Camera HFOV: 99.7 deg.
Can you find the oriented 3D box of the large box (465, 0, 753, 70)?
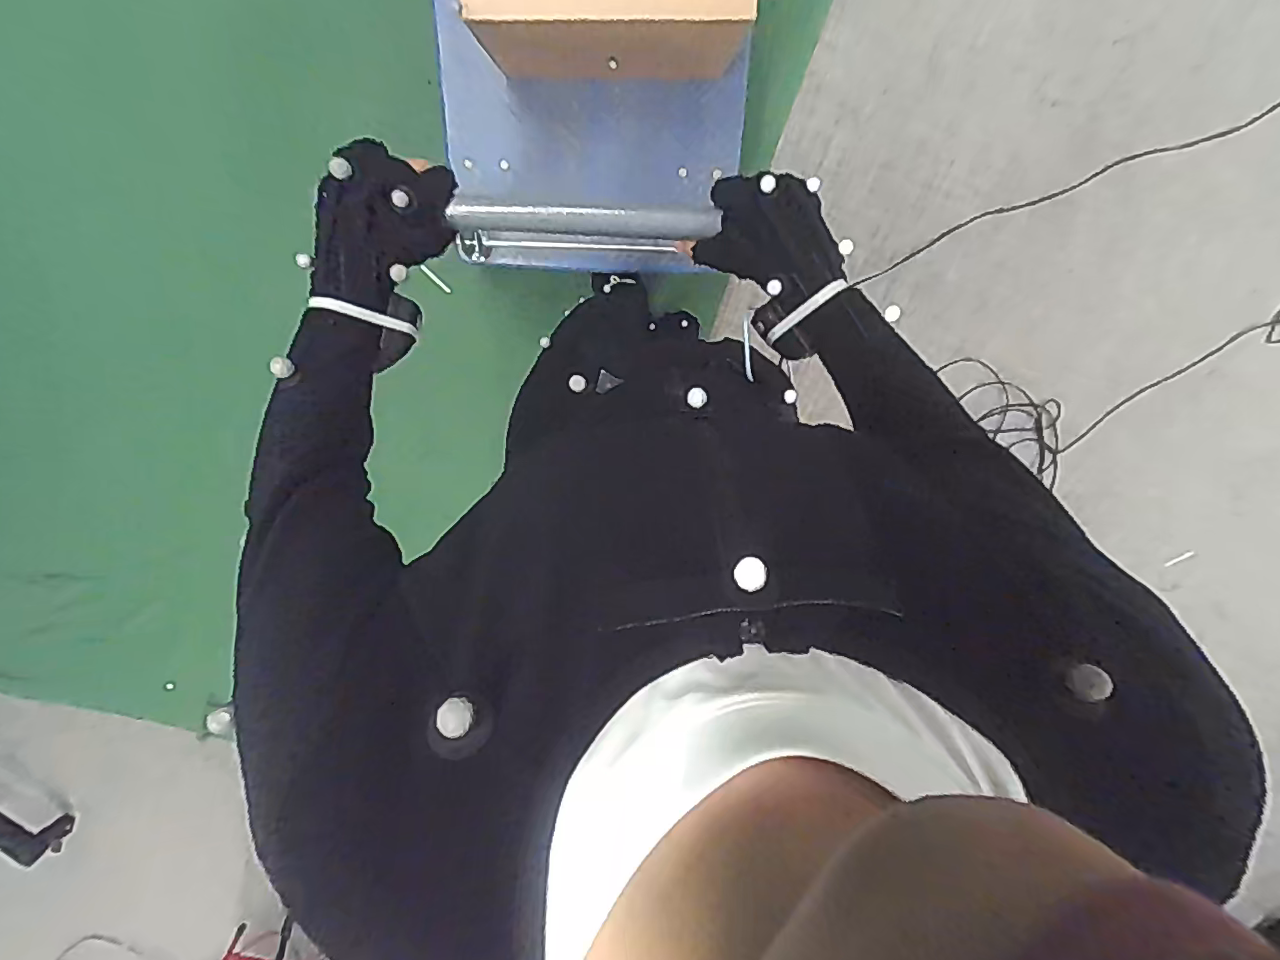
[{"bbox_3d":[-0.046,-0.847,0.816,0.408,0.320,0.320,-1,114,0],"label":"large box"}]
